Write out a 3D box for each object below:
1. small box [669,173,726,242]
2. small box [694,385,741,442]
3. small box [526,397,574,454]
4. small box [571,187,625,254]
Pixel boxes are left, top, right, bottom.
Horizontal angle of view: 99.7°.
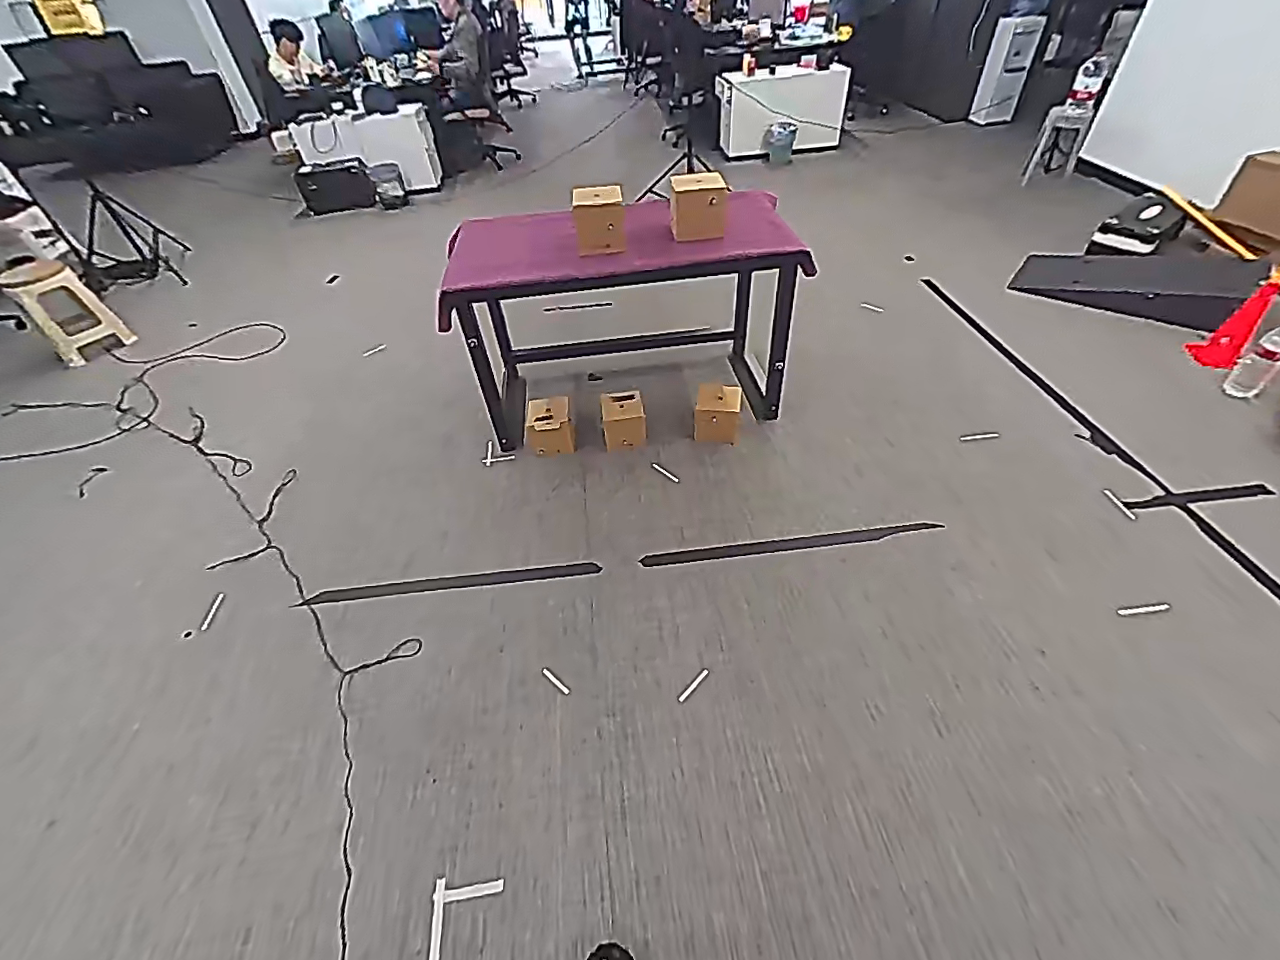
[{"bbox_3d":[0.198,-0.956,1.897,0.179,0.176,0.168,-6,44,0],"label":"small box"},{"bbox_3d":[0.320,-0.273,2.240,0.179,0.176,0.168,4,47,11],"label":"small box"},{"bbox_3d":[-0.369,-0.219,2.247,0.168,0.176,0.179,-6,44,-1],"label":"small box"},{"bbox_3d":[-0.144,-0.892,1.867,0.168,0.176,0.179,-6,43,-2],"label":"small box"}]
